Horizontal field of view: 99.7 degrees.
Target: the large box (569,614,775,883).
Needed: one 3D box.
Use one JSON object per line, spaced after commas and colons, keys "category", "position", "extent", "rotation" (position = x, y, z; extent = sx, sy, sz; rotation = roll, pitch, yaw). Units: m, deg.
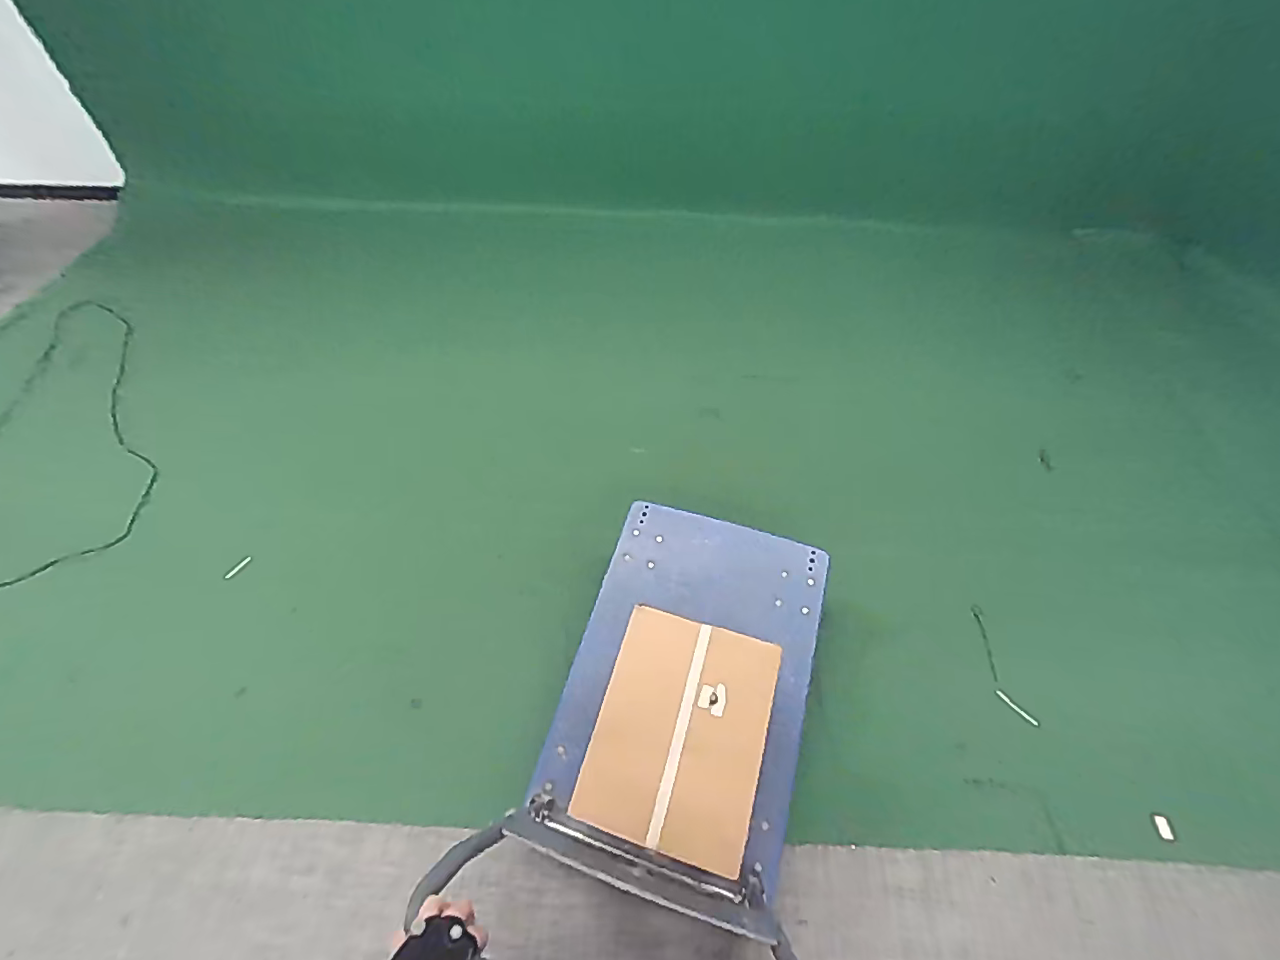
{"category": "large box", "position": [0.081, 0.558, 1.157], "extent": [0.320, 0.320, 0.408], "rotation": [14, 62, 11]}
